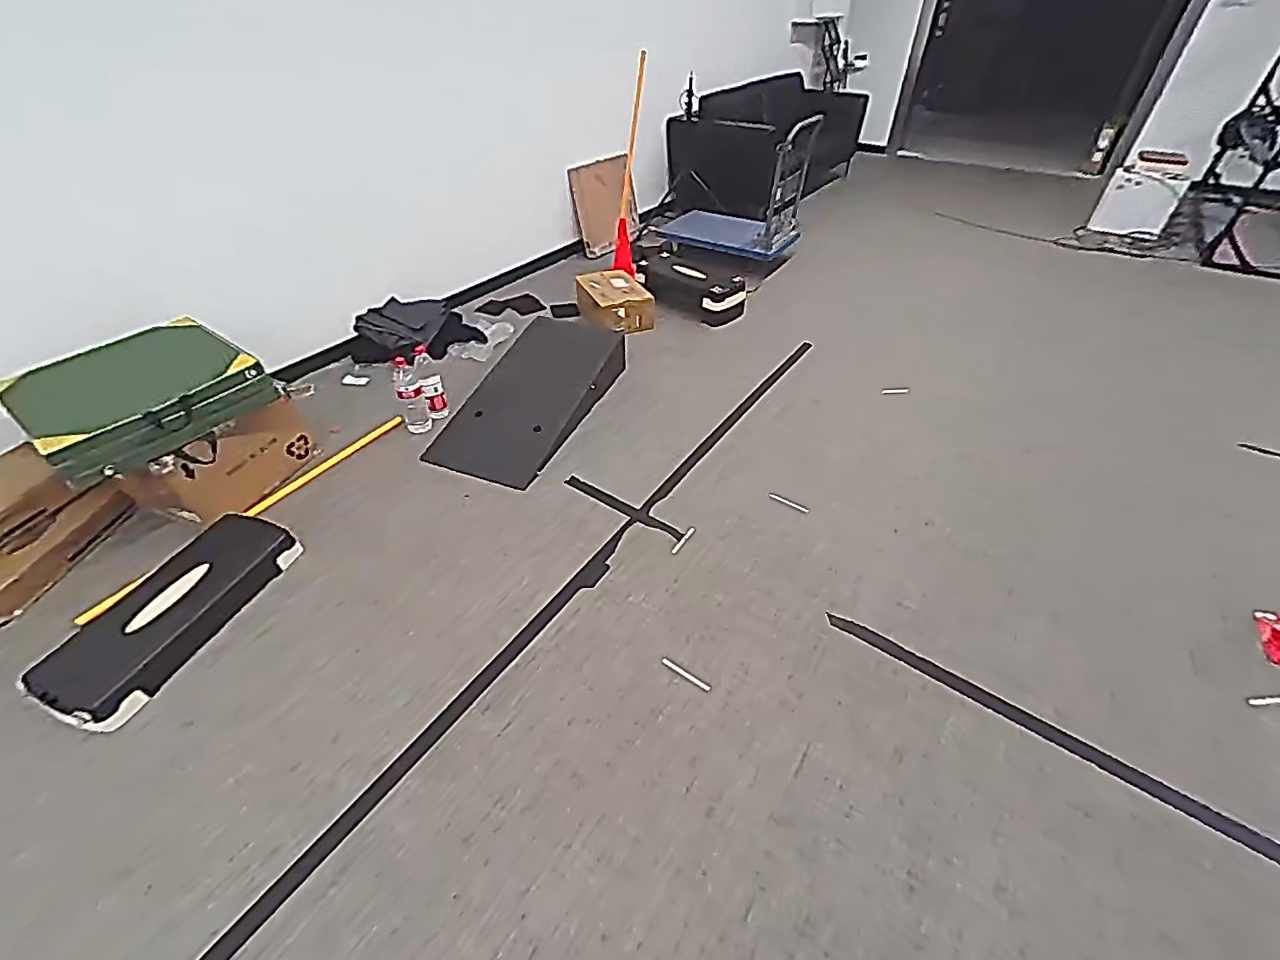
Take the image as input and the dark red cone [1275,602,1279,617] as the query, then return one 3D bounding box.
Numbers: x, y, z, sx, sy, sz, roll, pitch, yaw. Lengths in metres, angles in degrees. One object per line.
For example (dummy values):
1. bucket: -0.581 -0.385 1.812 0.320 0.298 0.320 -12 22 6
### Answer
1. dark red cone: 1.905 0.325 1.388 0.202 0.394 0.201 20 47 21
